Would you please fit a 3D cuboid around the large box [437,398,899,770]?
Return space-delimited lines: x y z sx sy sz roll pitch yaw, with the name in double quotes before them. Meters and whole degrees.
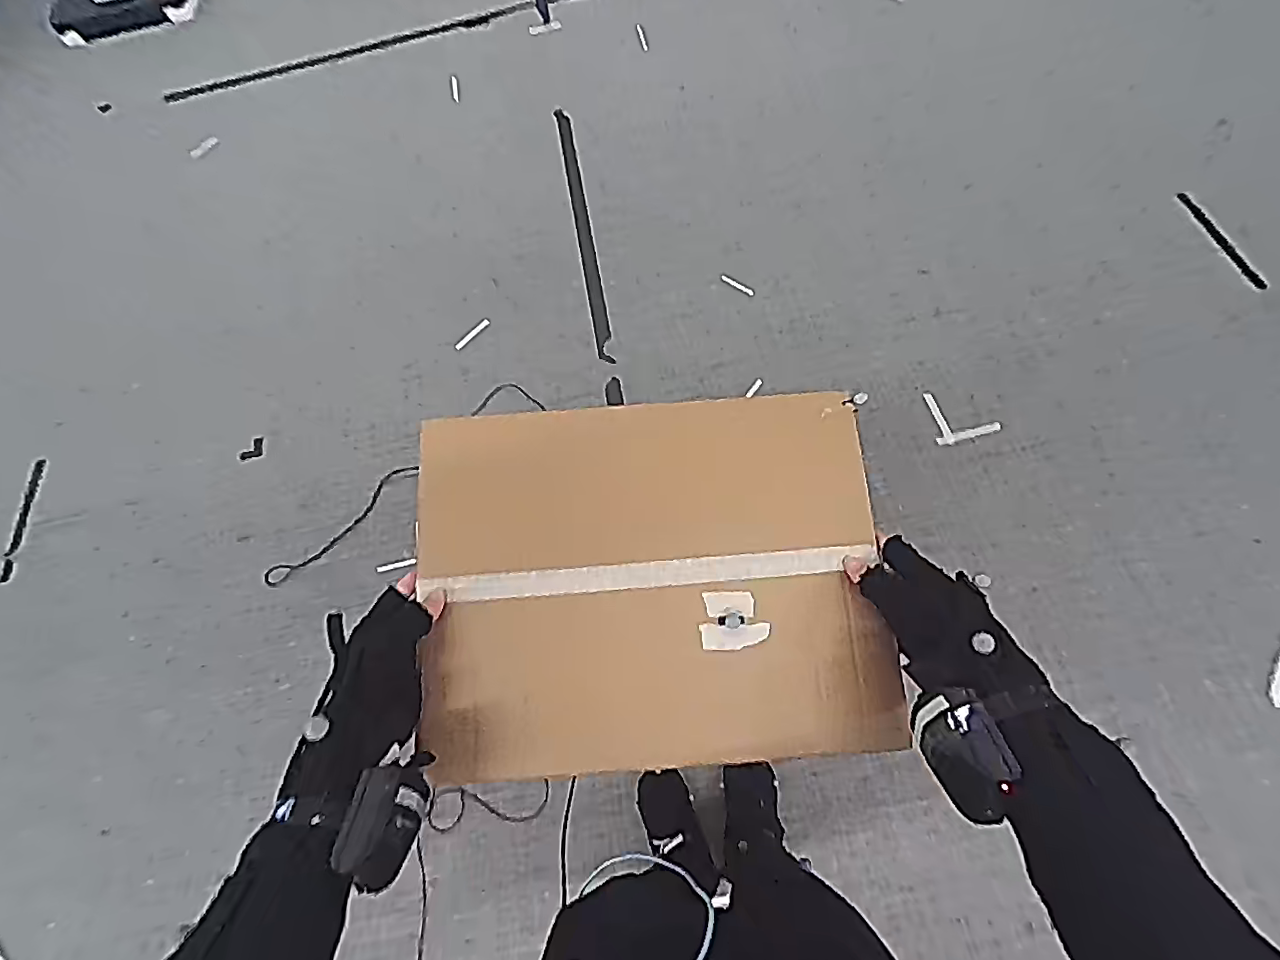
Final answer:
"large box" 0.013 0.117 0.637 0.408 0.320 0.320 -4 77 -1
